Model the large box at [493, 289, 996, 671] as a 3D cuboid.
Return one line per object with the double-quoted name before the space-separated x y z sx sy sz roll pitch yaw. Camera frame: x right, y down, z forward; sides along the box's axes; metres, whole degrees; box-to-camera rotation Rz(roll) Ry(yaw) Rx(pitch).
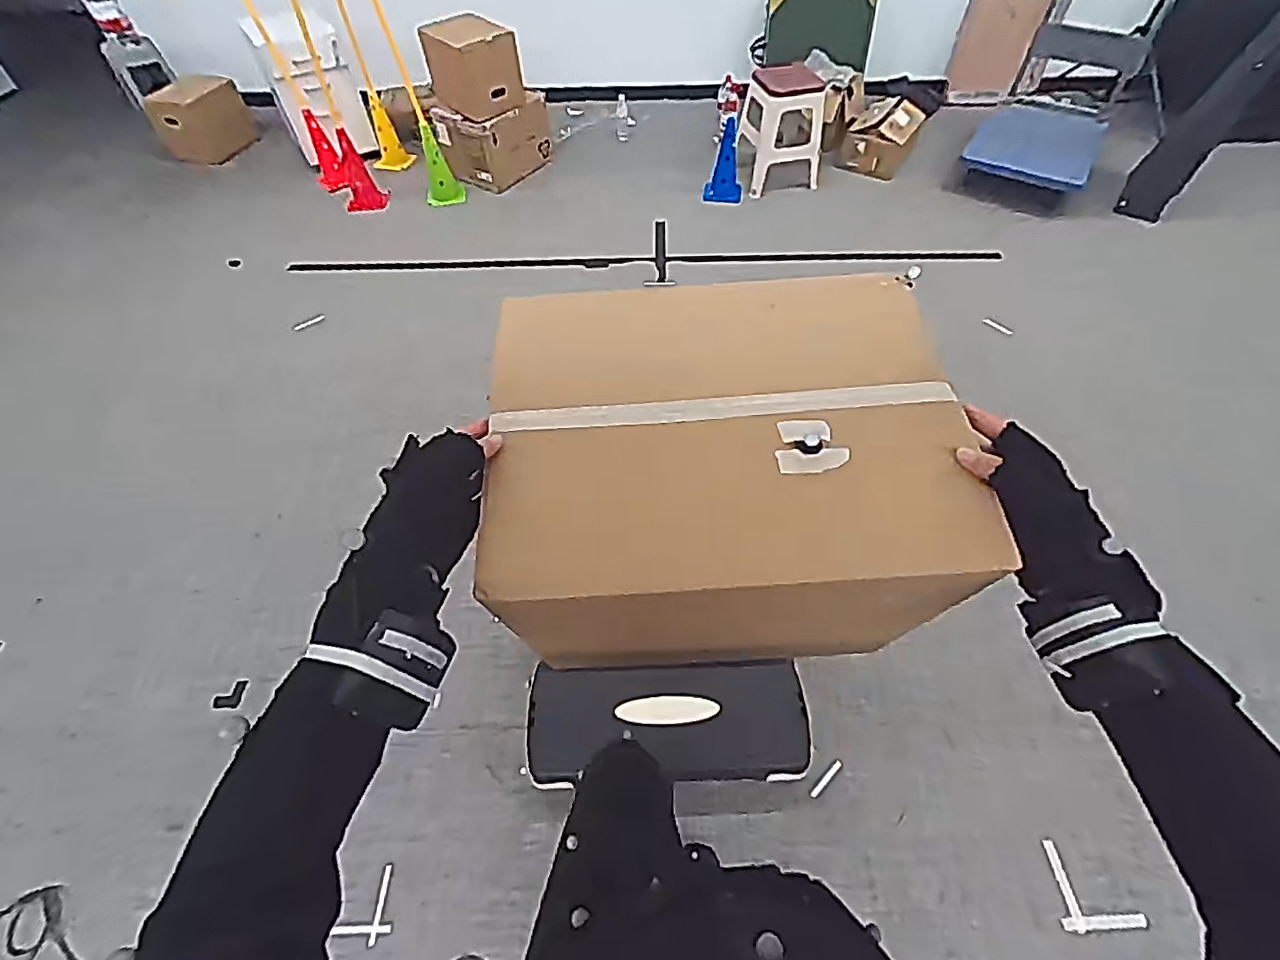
"large box" 0.076 0.020 0.620 0.408 0.320 0.320 -4 62 0
